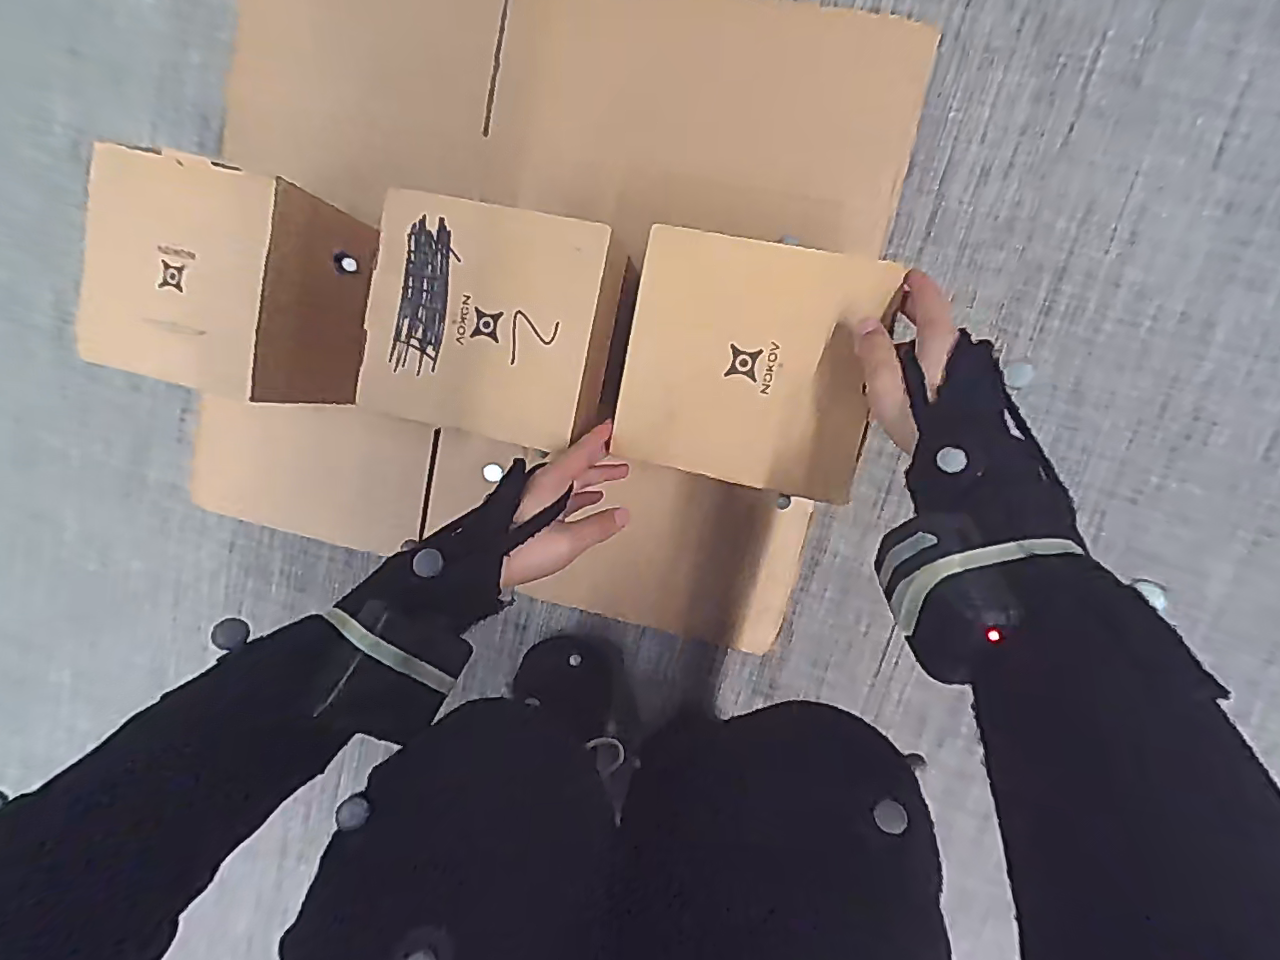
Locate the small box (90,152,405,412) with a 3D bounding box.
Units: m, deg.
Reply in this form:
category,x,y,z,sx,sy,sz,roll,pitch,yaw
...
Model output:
category,x,y,z,sx,sy,sz,roll,pitch,yaw
small box,-0.348,-0.167,0.510,0.168,0.176,0.179,14,98,7
